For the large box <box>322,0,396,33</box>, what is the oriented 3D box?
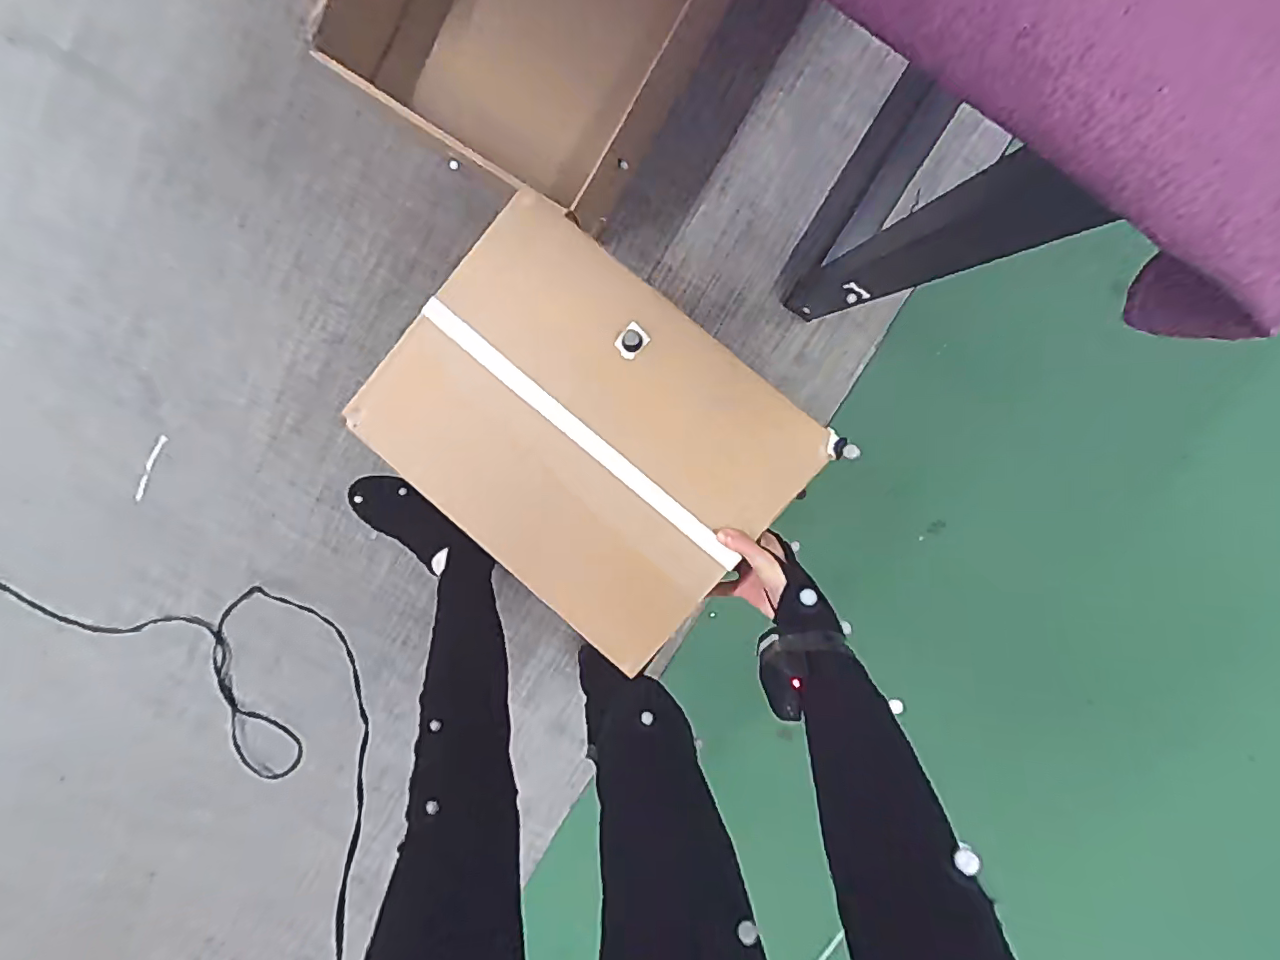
[{"bbox_3d":[-0.433,-0.897,0.643,0.320,0.320,0.408,30,101,-6],"label":"large box"}]
